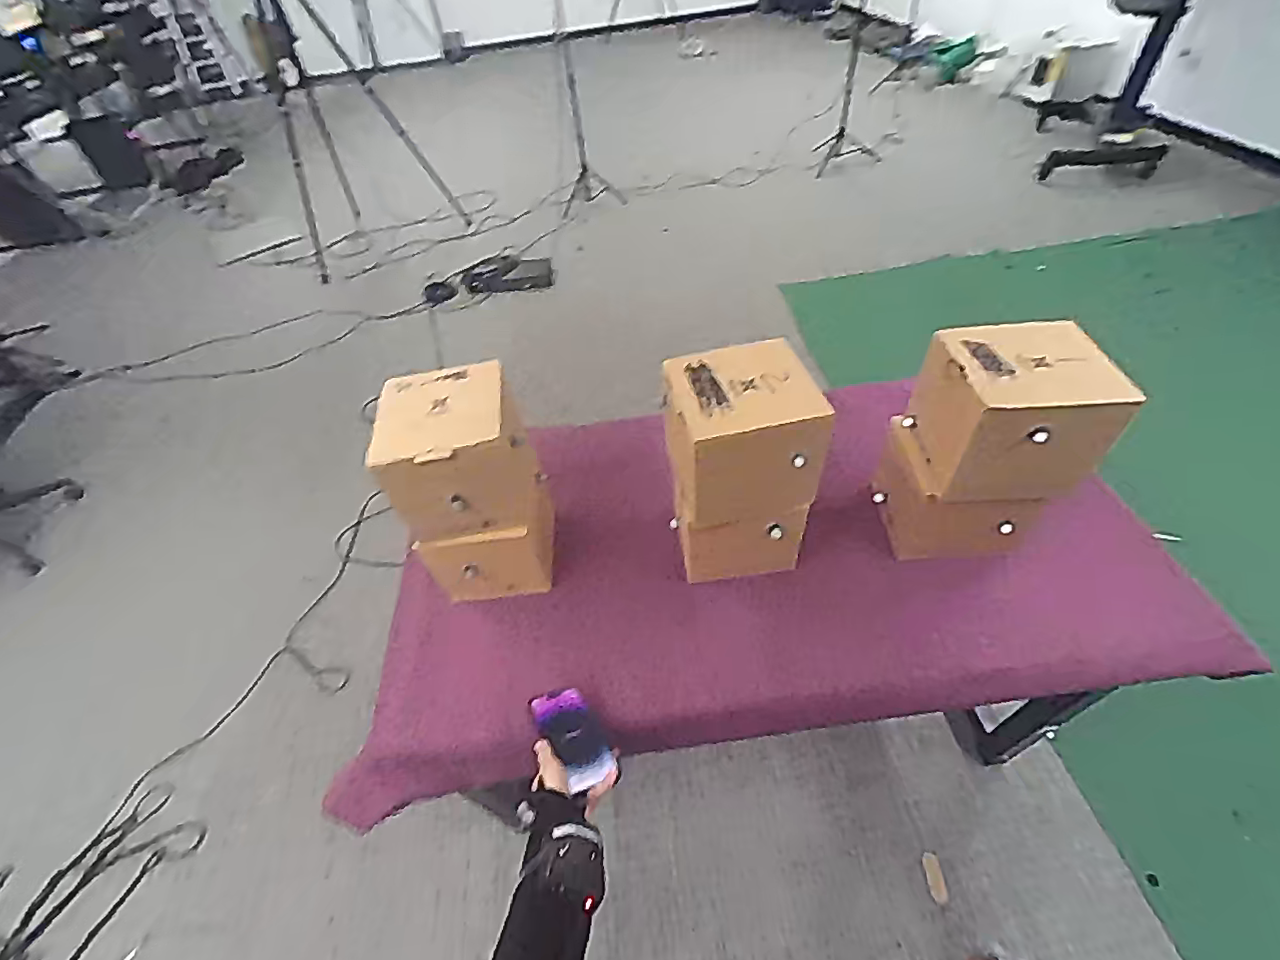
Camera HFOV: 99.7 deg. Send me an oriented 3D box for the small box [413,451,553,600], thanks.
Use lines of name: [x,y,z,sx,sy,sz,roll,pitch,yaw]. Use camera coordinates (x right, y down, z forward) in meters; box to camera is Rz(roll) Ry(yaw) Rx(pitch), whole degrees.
small box: [-0.240,0.080,0.877,0.168,0.176,0.179,-8,47,1]

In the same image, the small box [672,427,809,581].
small box: [0.148,0.041,0.858,0.179,0.176,0.168,-8,47,1]

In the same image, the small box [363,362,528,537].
small box: [-0.258,-0.036,0.762,0.168,0.176,0.179,-11,48,-3]

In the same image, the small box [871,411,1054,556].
small box: [0.487,0.005,0.846,0.179,0.176,0.168,-3,47,5]

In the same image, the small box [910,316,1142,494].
small box: [0.480,-0.094,0.715,0.179,0.176,0.168,-3,47,4]
